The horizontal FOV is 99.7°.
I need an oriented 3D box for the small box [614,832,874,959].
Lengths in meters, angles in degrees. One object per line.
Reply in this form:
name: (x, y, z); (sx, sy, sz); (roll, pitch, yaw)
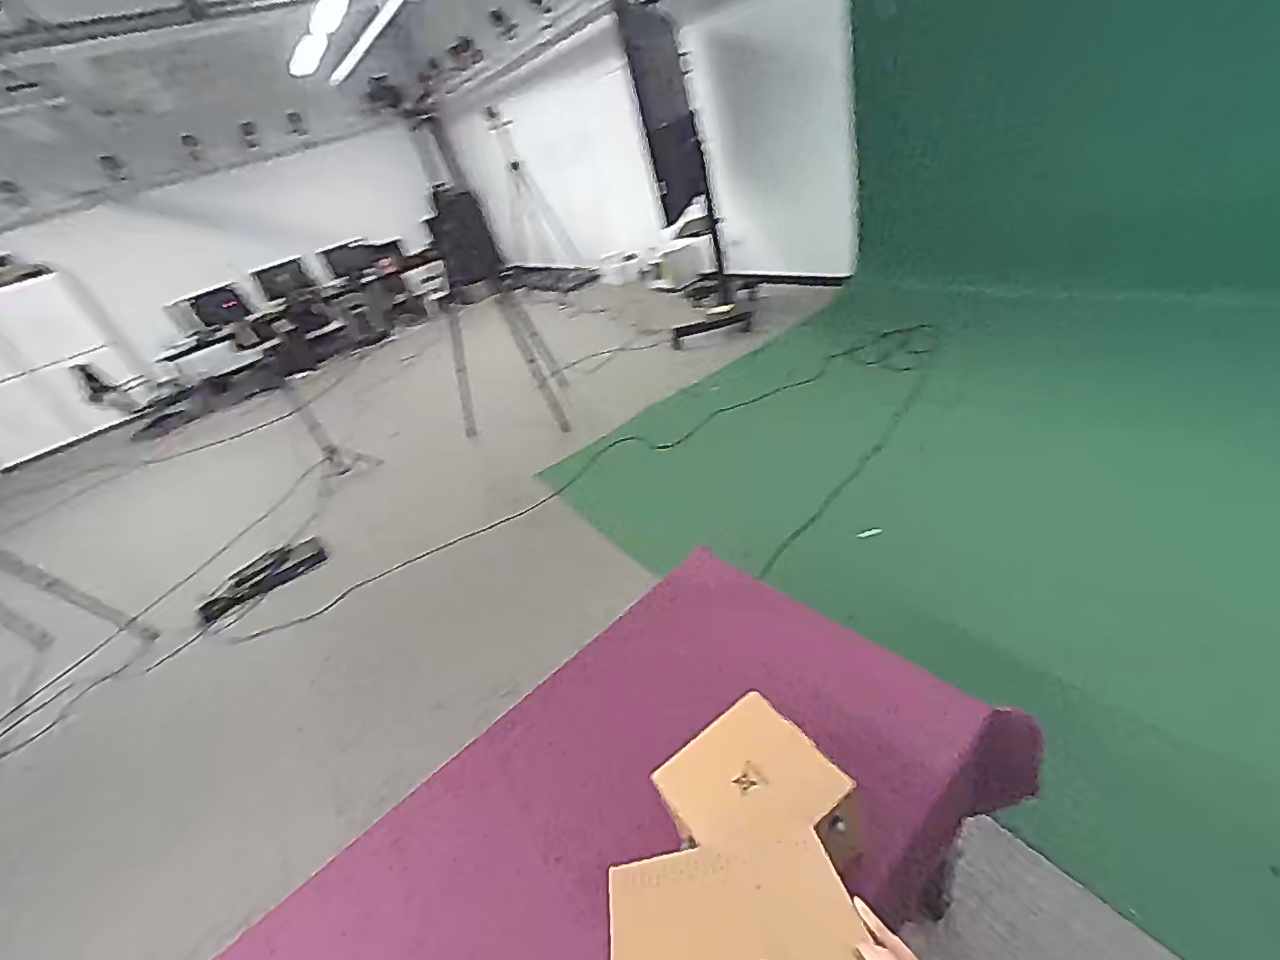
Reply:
small box: (0.080, 0.388, 0.380); (0.179, 0.168, 0.176); (-10, 6, -2)

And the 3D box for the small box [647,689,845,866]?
small box: (0.140, 0.415, 0.680); (0.179, 0.176, 0.168); (-31, 35, -20)
